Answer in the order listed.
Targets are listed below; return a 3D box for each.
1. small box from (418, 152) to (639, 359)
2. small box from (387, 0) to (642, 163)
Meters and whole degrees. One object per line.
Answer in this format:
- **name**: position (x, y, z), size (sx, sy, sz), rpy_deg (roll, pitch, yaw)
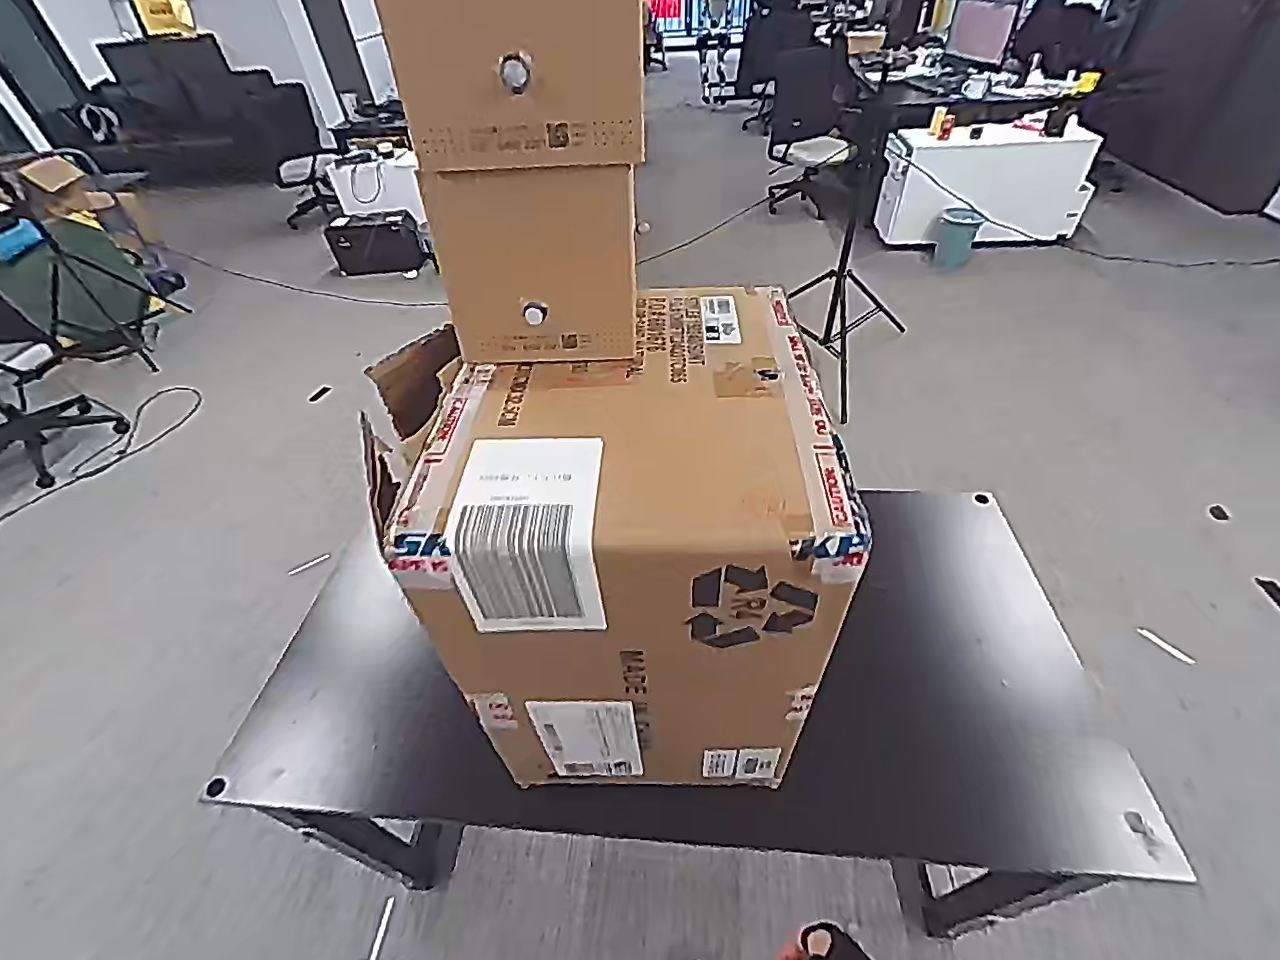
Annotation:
- **small box**: position (-0.087, -0.233, 0.521), size (0.168, 0.176, 0.179), rpy_deg (-2, 43, 1)
- **small box**: position (-0.085, -0.349, 0.404), size (0.168, 0.176, 0.179), rpy_deg (-3, 42, -1)
